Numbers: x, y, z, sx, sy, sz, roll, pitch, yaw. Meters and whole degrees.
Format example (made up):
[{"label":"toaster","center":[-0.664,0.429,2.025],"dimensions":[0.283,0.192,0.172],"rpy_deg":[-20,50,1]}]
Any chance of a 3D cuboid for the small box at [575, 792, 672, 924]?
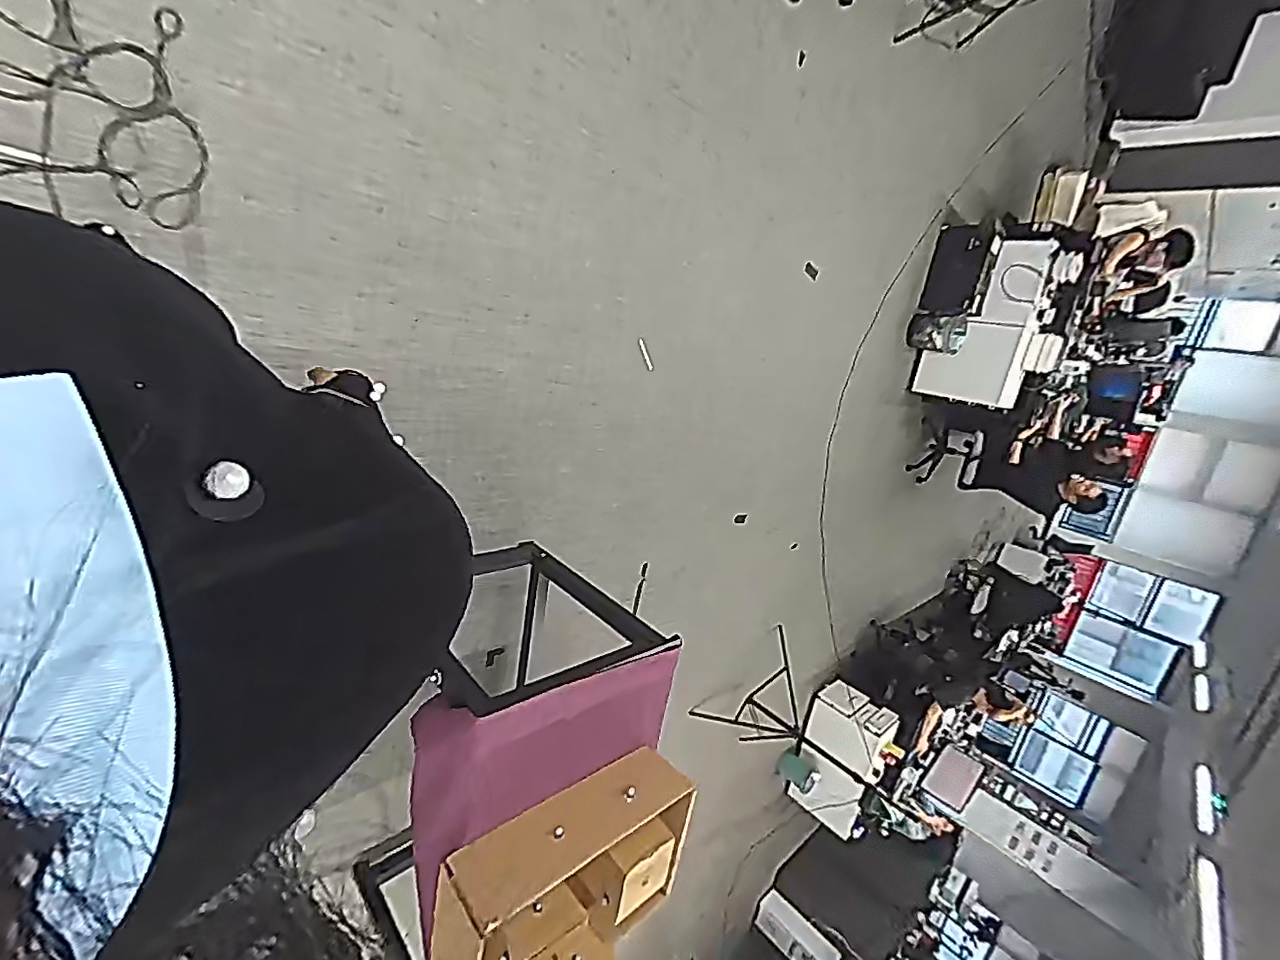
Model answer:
[{"label":"small box","center":[-0.046,0.941,1.361],"dimensions":[0.168,0.176,0.179],"rpy_deg":[-8,114,-43]}]
